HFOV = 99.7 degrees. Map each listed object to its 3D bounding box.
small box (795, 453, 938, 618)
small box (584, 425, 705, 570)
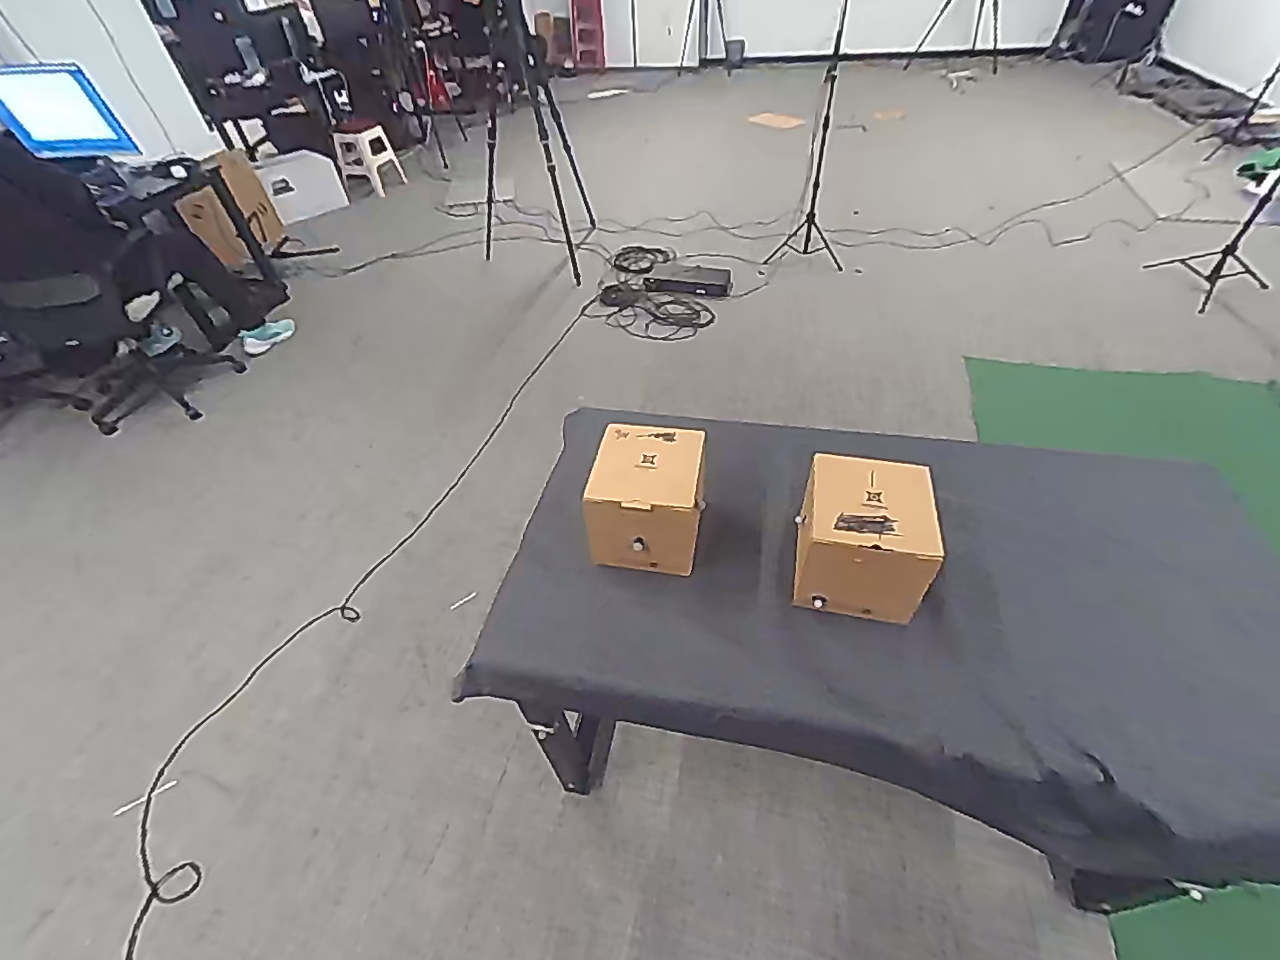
[{"bbox_3d":[0.334,0.085,0.824,0.168,0.176,0.179,8,46,13],"label":"small box"},{"bbox_3d":[0.018,0.031,0.907,0.168,0.176,0.179,6,47,10],"label":"small box"}]
